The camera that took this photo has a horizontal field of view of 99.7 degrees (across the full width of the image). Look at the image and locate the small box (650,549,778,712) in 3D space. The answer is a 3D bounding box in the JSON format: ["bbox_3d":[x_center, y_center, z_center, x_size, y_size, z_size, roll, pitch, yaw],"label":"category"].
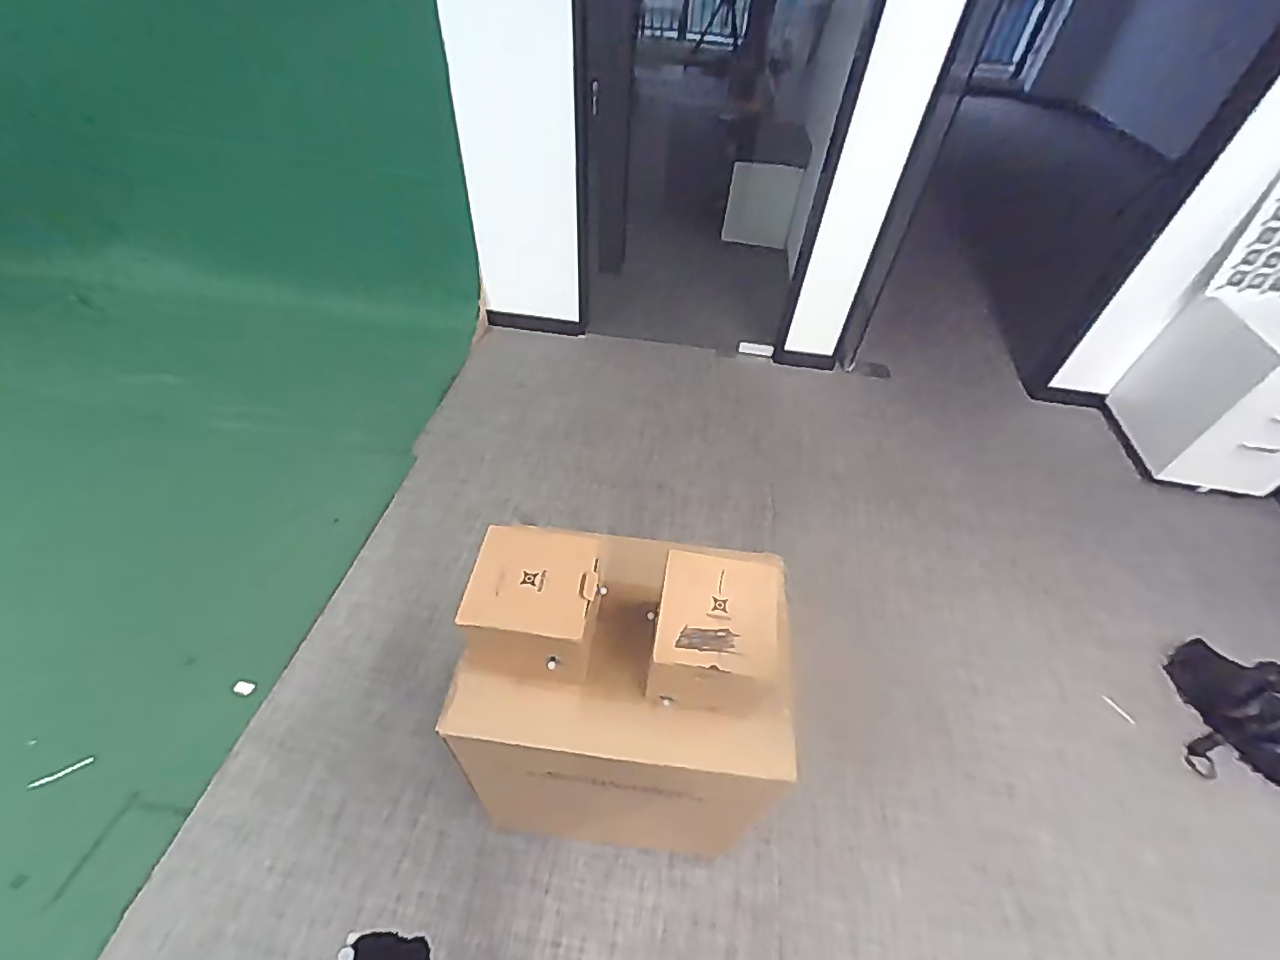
[{"bbox_3d":[0.108,0.232,0.821,0.168,0.176,0.179,9,51,4],"label":"small box"}]

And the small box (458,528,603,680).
[{"bbox_3d":[-0.154,0.197,0.840,0.179,0.176,0.168,6,49,3],"label":"small box"}]
